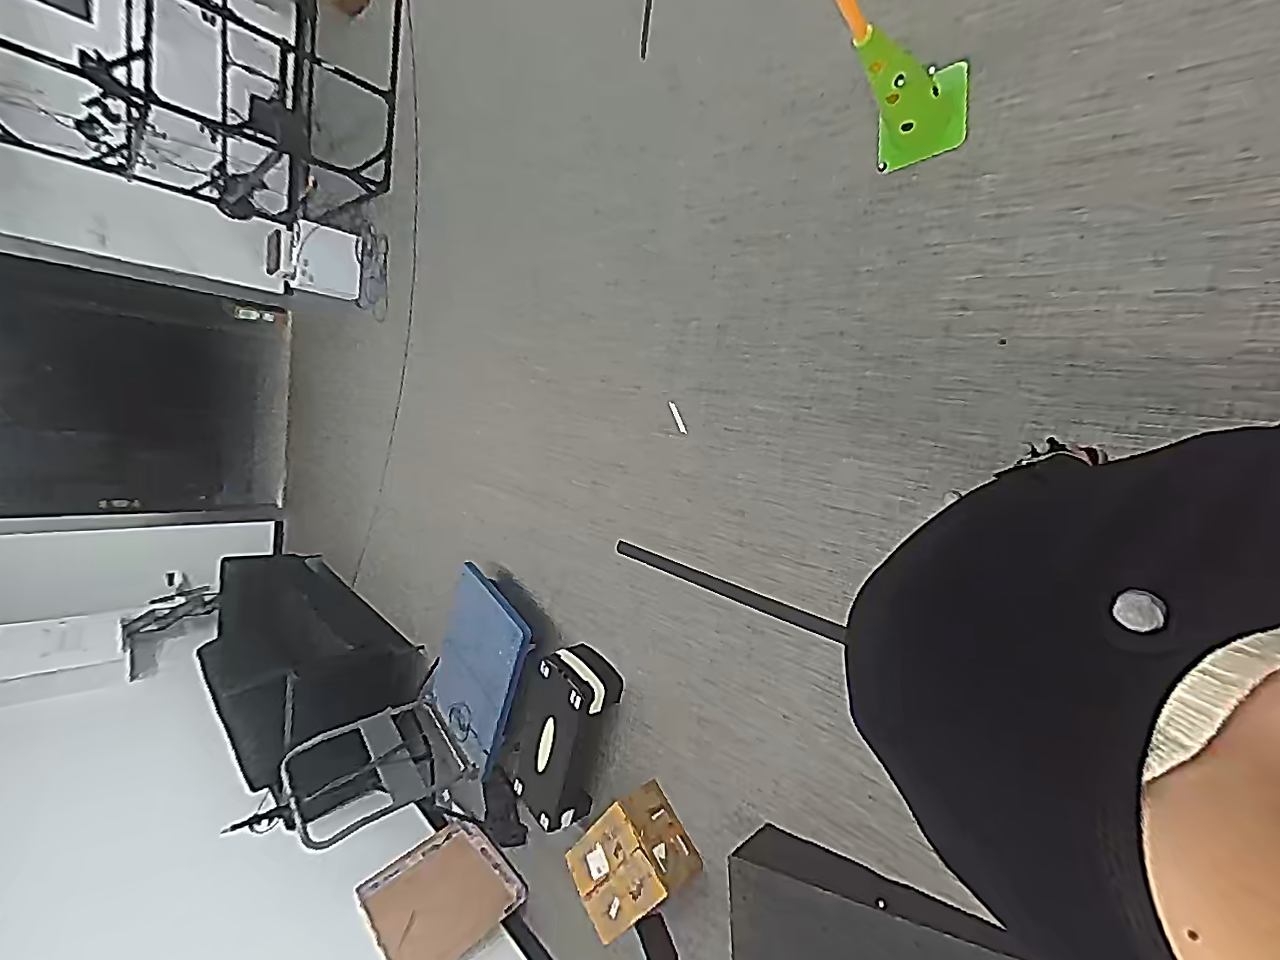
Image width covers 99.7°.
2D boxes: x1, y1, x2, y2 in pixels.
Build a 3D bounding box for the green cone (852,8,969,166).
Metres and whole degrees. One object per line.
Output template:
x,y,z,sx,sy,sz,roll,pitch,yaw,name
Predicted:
0.564,-0.894,1.186,0.200,0.368,0.202,1,88,44,green cone
